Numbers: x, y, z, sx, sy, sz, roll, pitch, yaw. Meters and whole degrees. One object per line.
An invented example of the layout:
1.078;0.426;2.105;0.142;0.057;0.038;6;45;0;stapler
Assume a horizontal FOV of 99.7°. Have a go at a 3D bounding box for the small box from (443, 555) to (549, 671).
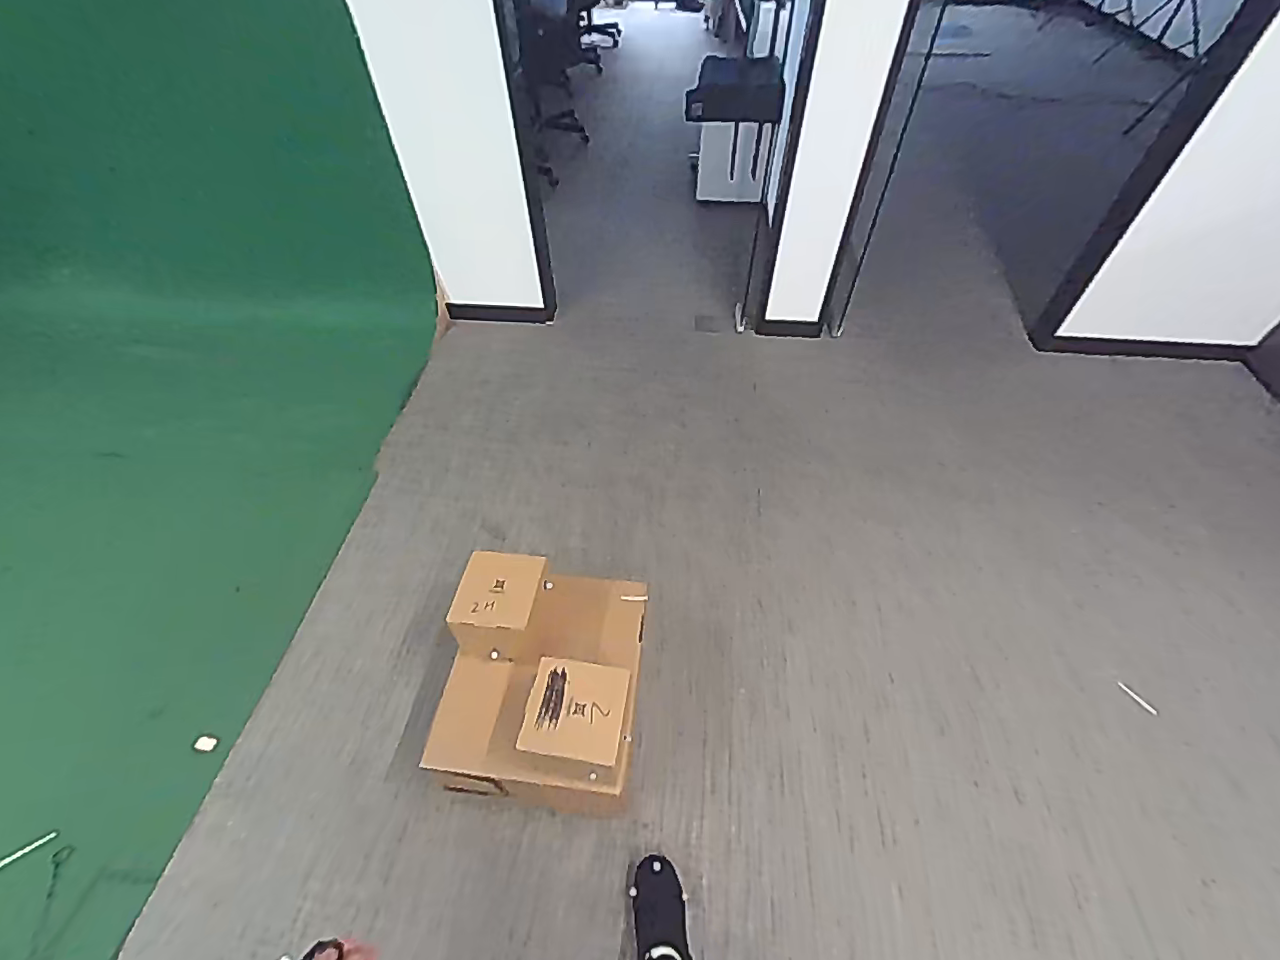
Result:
-0.301;0.289;1.175;0.168;0.176;0.179;5;47;5;small box
